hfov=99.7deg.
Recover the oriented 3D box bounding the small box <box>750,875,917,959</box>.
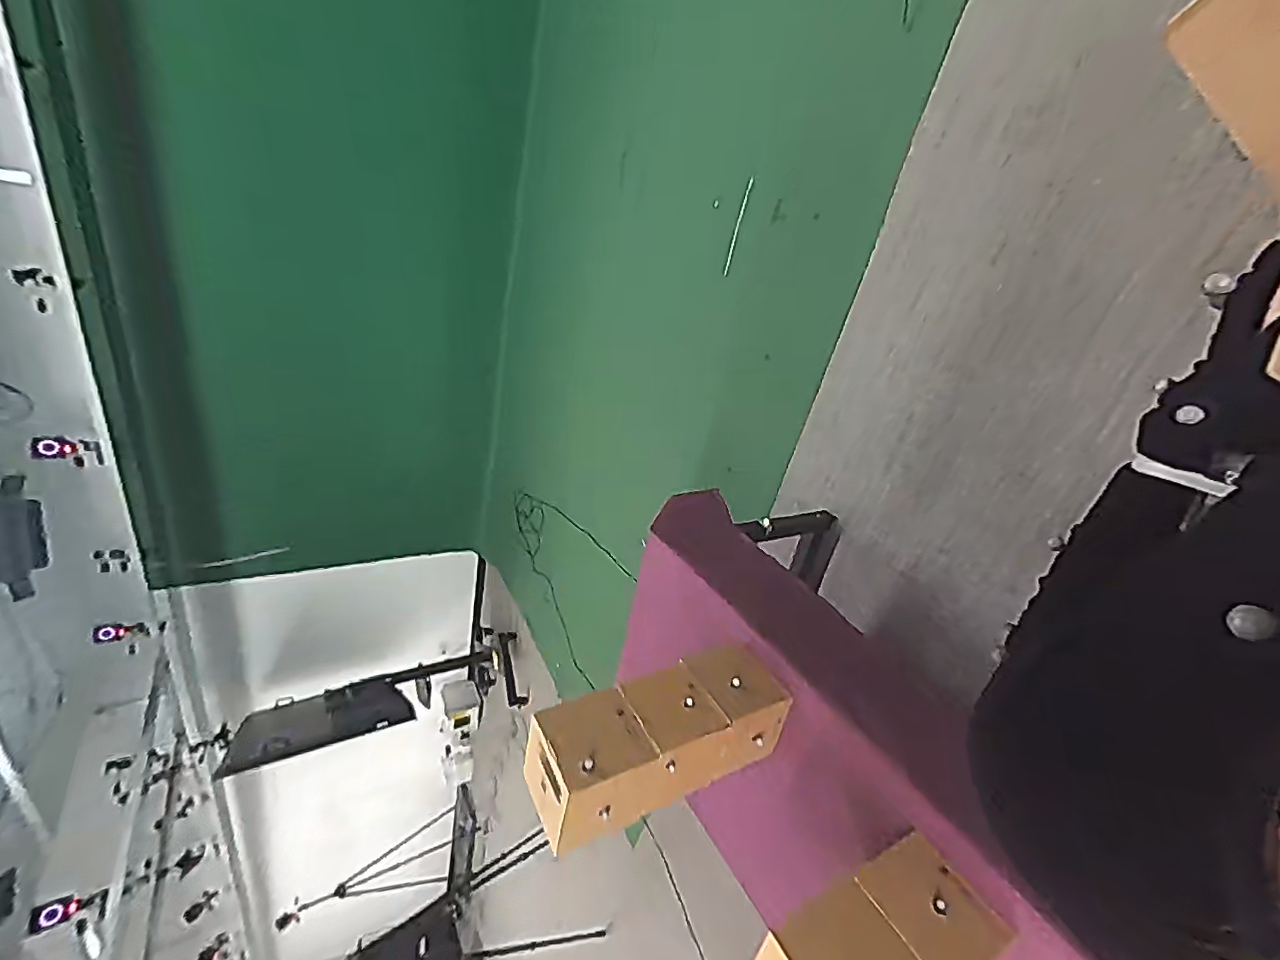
[{"bbox_3d":[0.267,0.691,0.726,0.179,0.176,0.168,42,128,49],"label":"small box"}]

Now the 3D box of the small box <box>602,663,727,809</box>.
[{"bbox_3d":[0.046,0.490,1.057,0.168,0.176,0.179,43,128,48],"label":"small box"}]

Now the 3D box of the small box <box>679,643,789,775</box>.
[{"bbox_3d":[0.184,0.472,1.143,0.179,0.176,0.168,40,126,48],"label":"small box"}]

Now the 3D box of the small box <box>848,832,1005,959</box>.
[{"bbox_3d":[0.406,0.680,0.815,0.168,0.176,0.179,43,129,48],"label":"small box"}]
